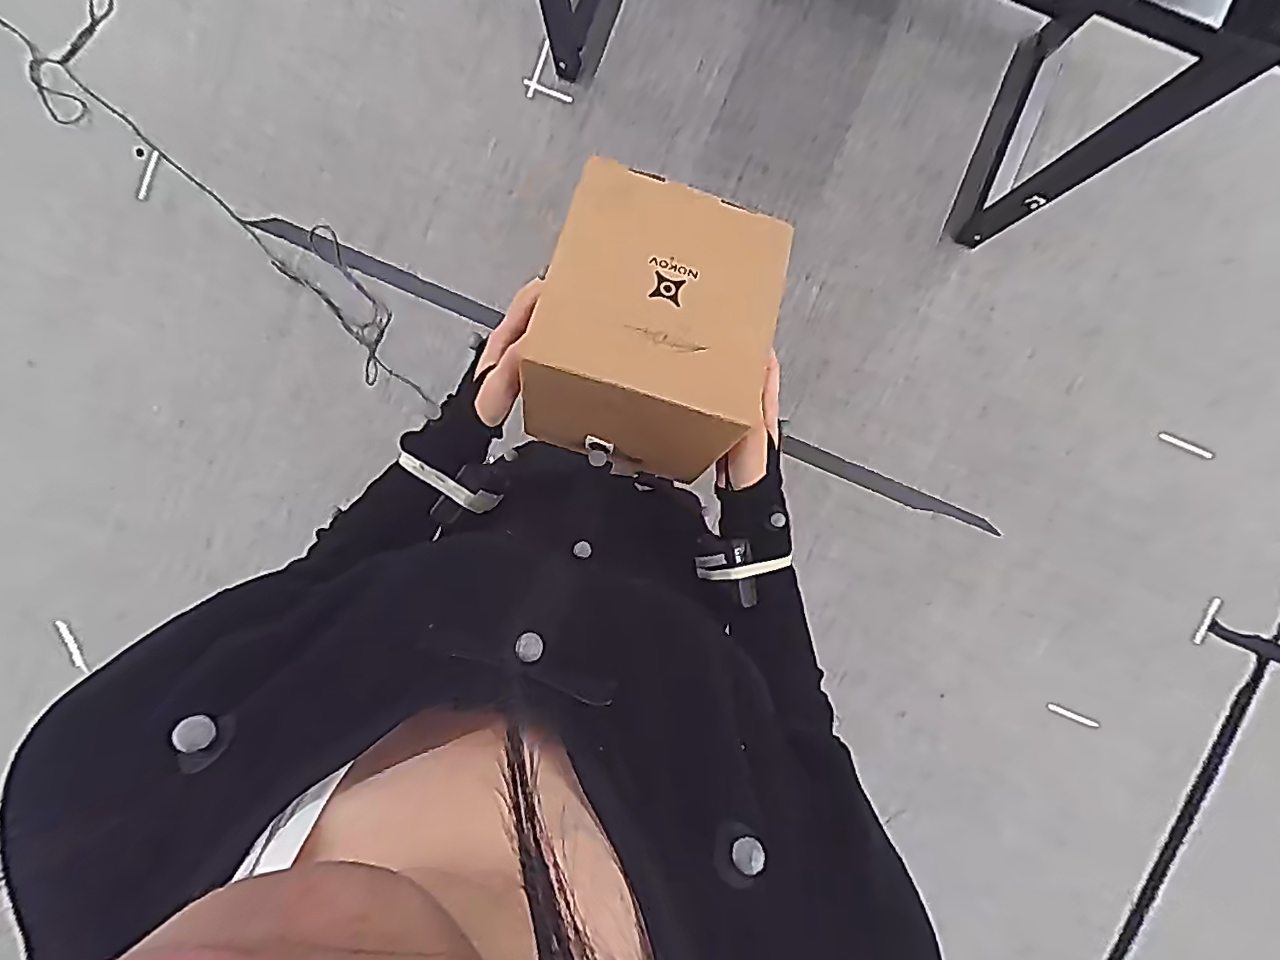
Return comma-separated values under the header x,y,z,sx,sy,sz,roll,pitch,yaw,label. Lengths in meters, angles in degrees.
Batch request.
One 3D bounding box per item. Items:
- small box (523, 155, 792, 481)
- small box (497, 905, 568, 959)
x,y,z,sx,sy,sz,roll,pitch,yaw,label
0.006,-0.117,0.456,0.168,0.176,0.179,16,74,-6,small box
-0.304,1.331,1.504,0.179,0.176,0.168,10,94,-2,small box
